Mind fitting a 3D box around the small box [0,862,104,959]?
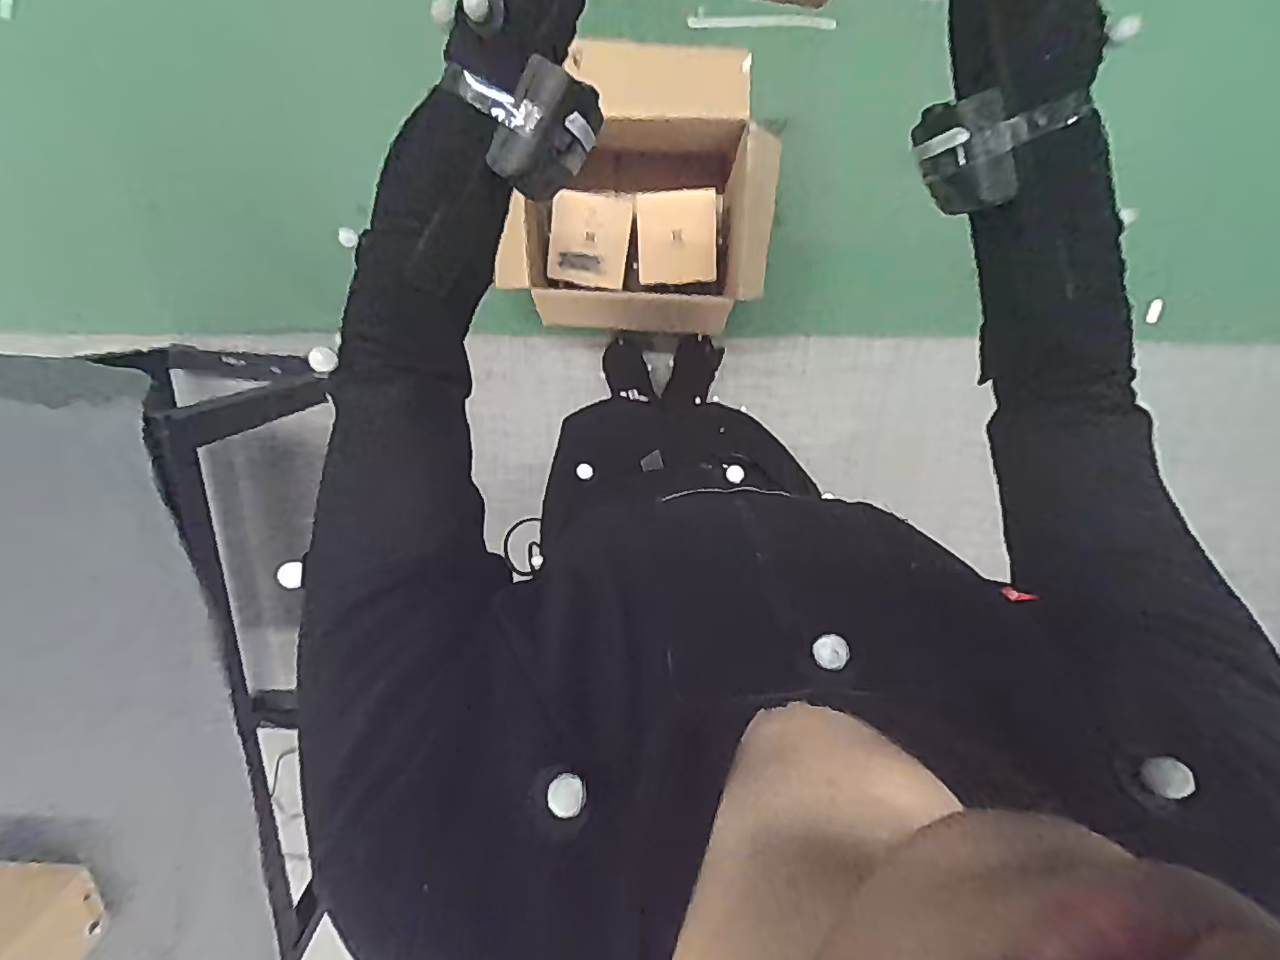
[{"bbox_3d":[-1.088,0.796,0.931,0.179,0.176,0.168,2,109,0],"label":"small box"}]
